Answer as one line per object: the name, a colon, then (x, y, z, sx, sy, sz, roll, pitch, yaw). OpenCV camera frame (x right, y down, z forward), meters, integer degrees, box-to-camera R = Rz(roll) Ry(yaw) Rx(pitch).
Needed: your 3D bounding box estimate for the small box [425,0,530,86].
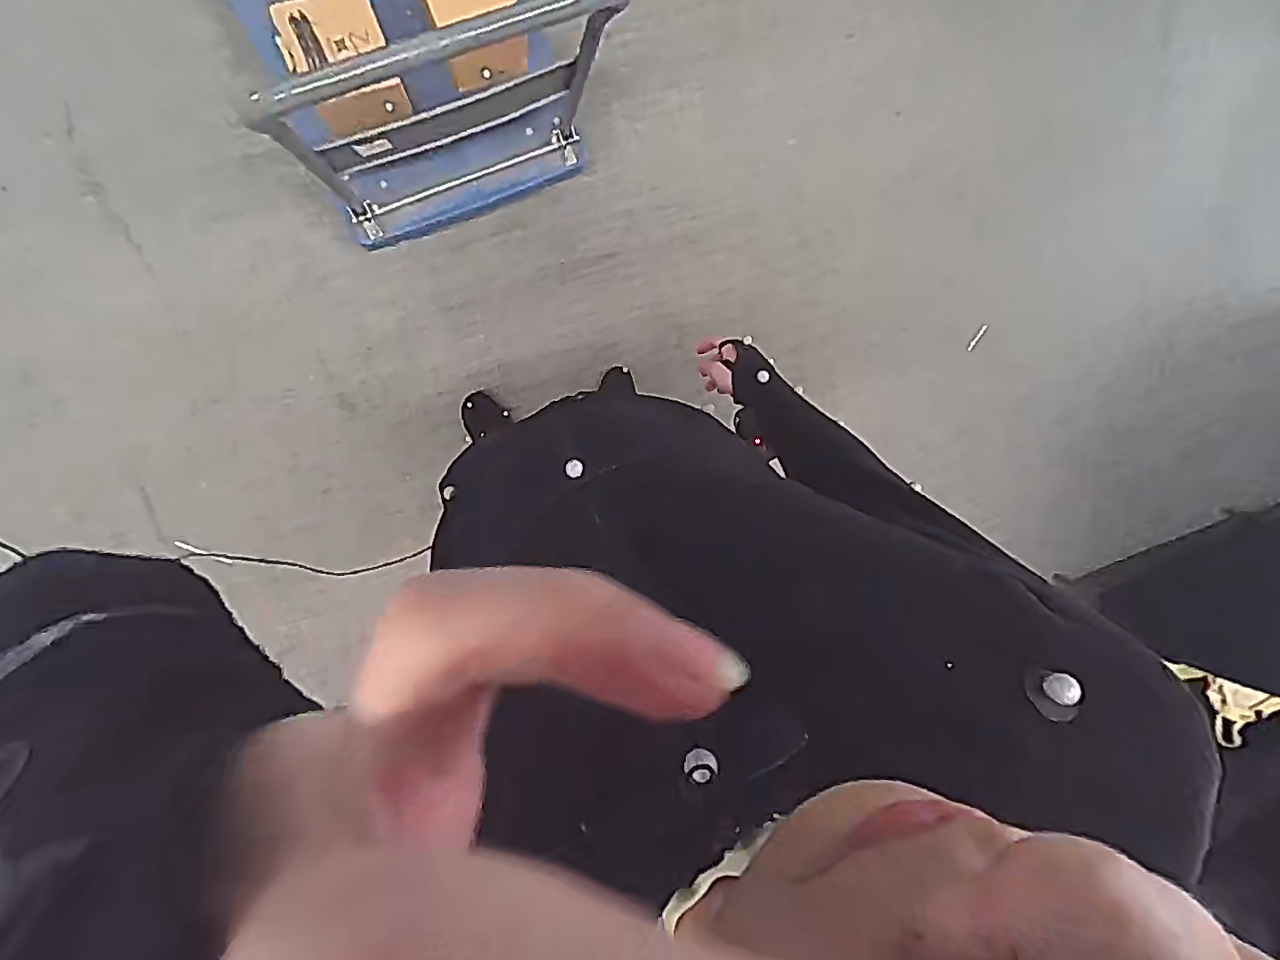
small box: (-0.337, -0.955, 1.101, 0.168, 0.176, 0.179, -23, 107, -7)
